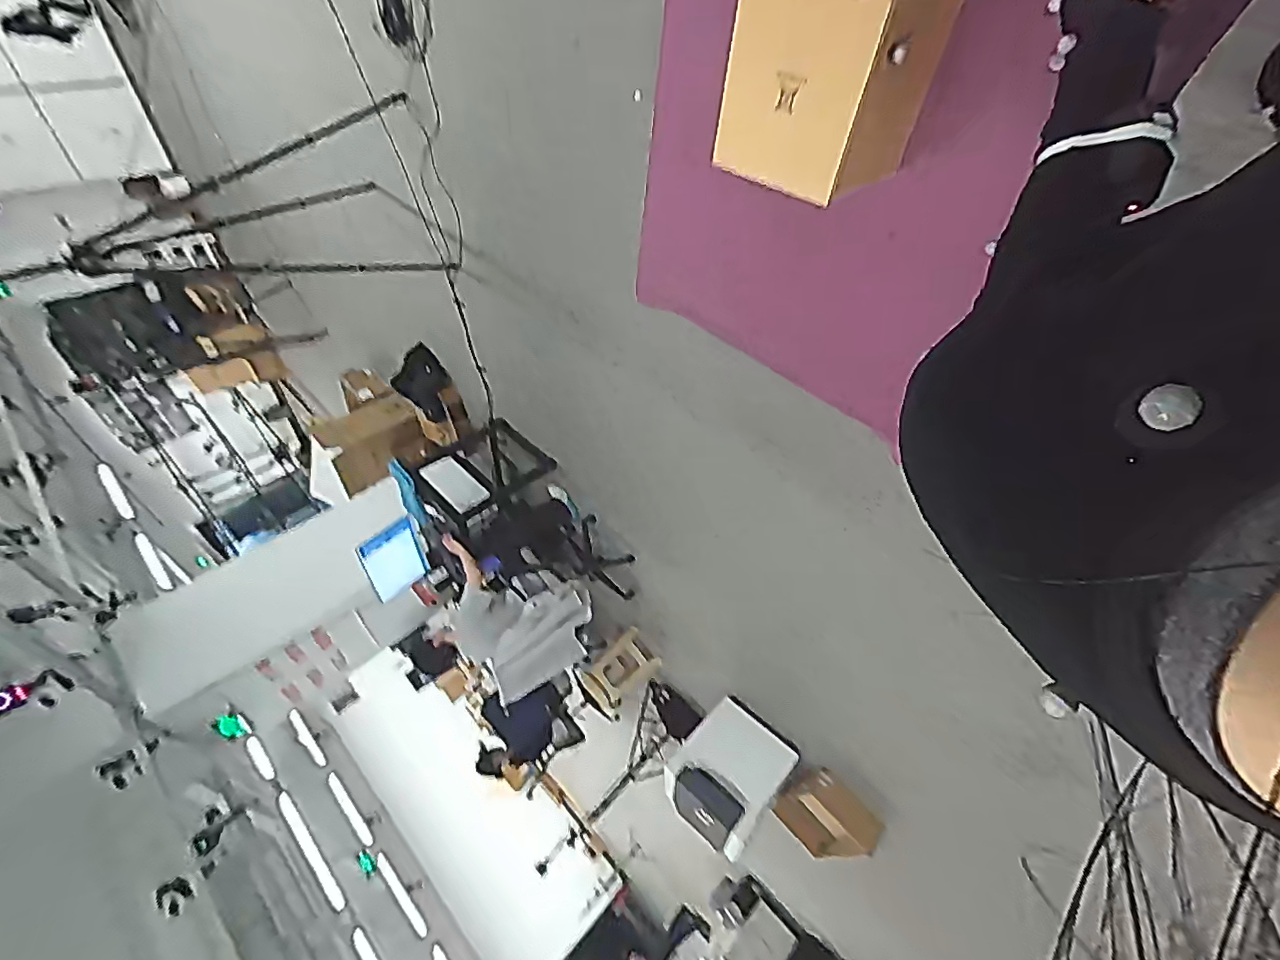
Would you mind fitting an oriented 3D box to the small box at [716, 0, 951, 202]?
[{"bbox_3d":[0.213,-0.448,0.613,0.168,0.176,0.179,37,143,26],"label":"small box"}]
